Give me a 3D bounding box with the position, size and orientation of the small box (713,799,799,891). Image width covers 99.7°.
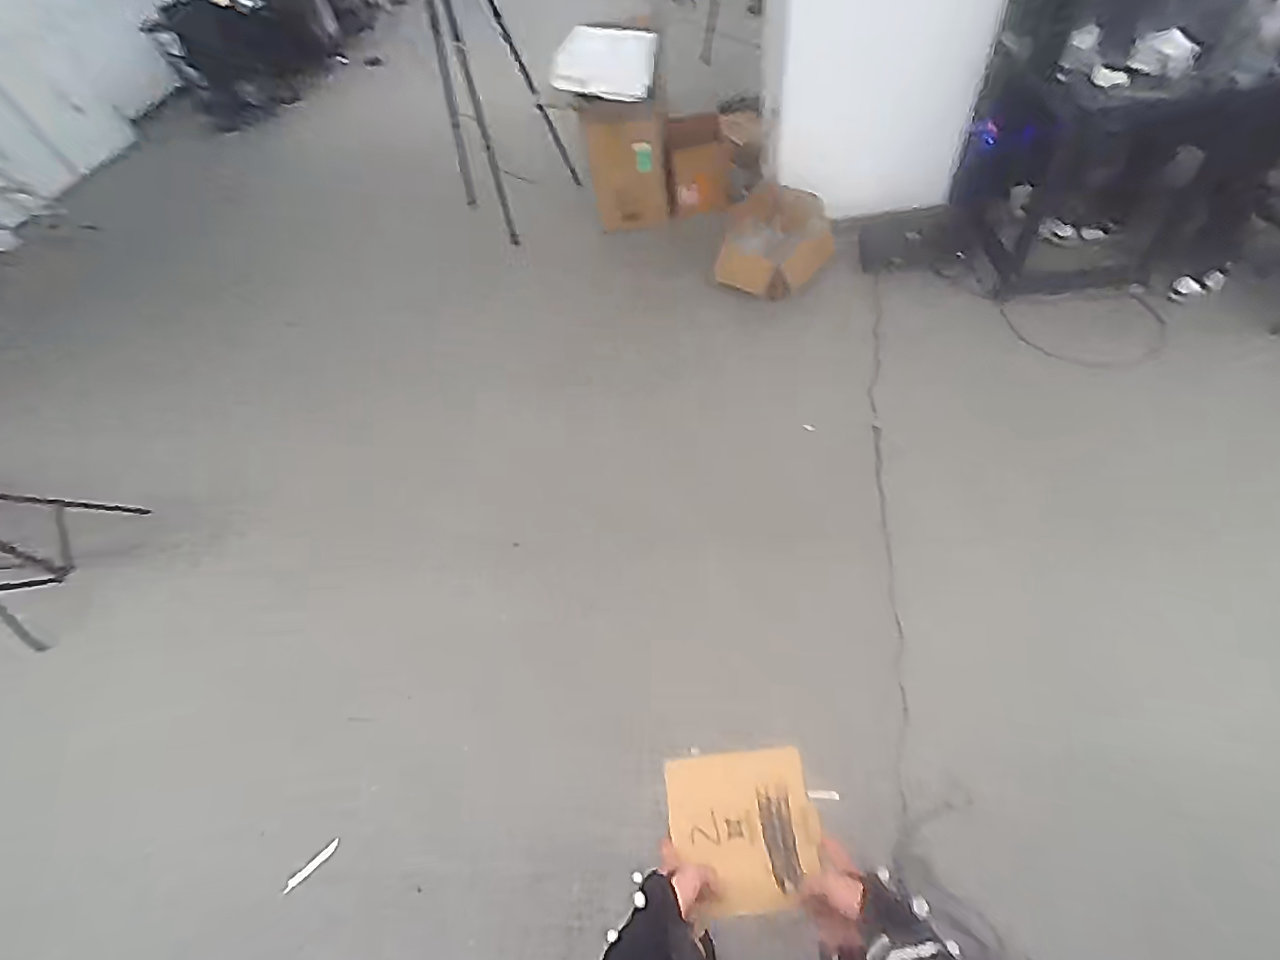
[{"bbox_3d":[0.265,0.842,1.248,0.179,0.176,0.168,-4,53,8],"label":"small box"}]
